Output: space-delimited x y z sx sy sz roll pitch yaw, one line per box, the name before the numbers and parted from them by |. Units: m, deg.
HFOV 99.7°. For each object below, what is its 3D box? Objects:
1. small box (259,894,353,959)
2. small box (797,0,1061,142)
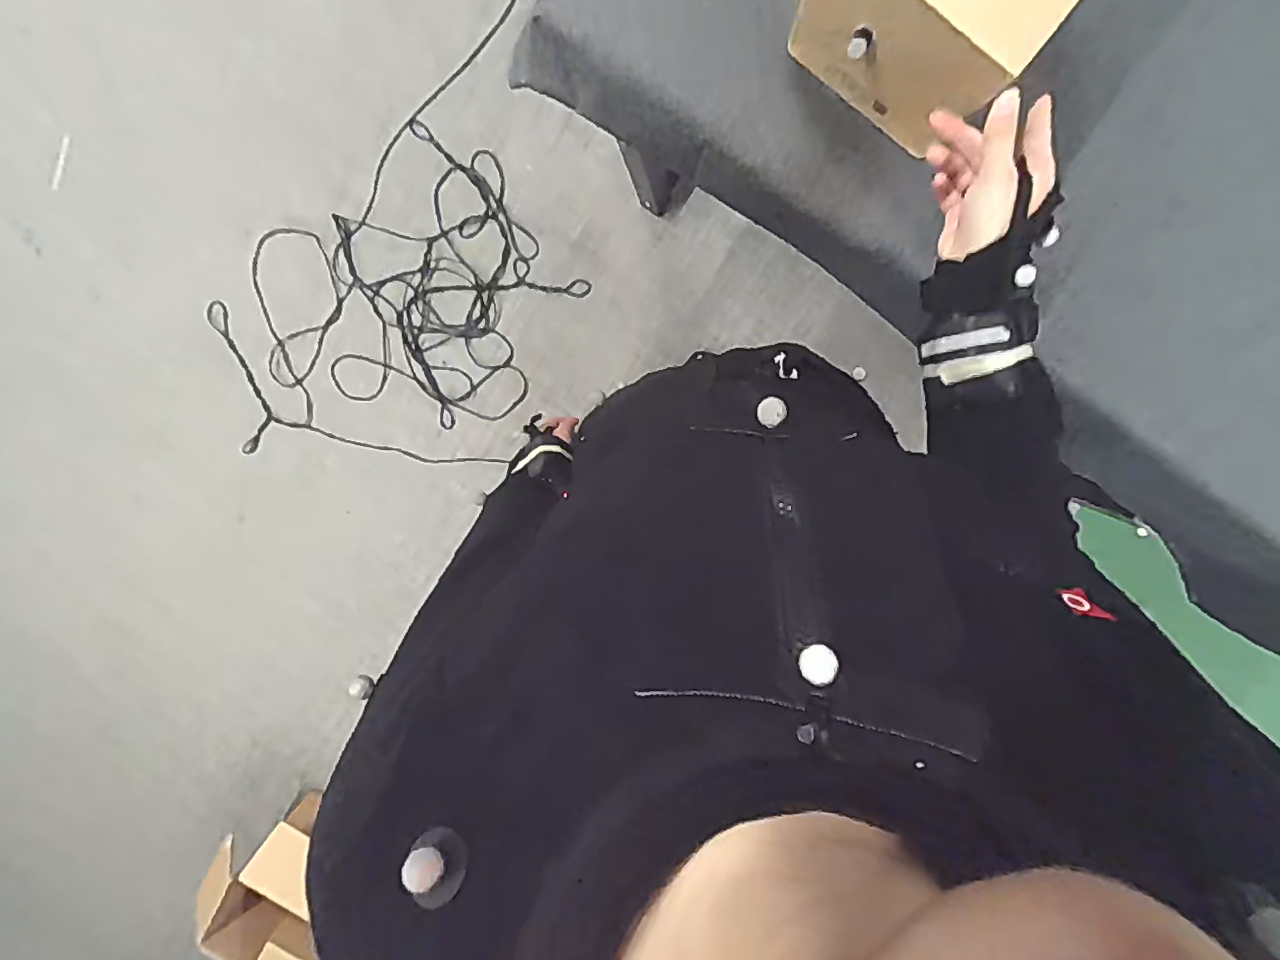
small box | -0.927 1.302 1.480 0.168 0.176 0.179 31 102 -1
small box | 0.240 -0.406 0.411 0.168 0.176 0.179 36 103 -3
